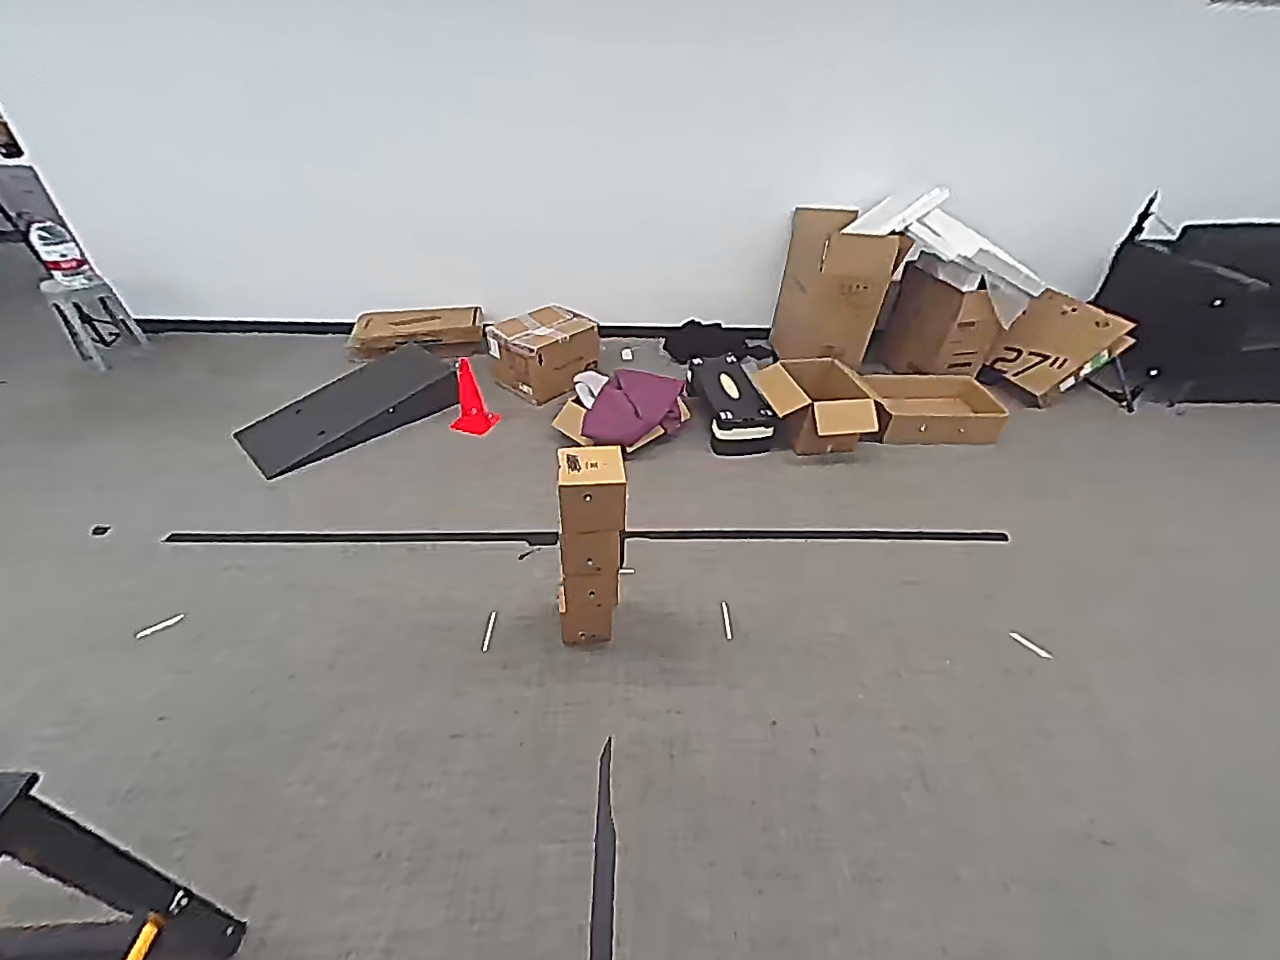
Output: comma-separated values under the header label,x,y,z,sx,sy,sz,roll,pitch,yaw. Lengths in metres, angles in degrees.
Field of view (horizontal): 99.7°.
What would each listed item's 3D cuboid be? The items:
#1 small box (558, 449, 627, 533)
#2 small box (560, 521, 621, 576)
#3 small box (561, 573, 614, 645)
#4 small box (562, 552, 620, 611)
label,x,y,z,sx,sy,sz,roll,pitch,yaw
small box,-0.130,0.032,1.490,0.179,0.176,0.168,-3,38,-6
small box,-0.142,0.162,1.591,0.168,0.176,0.179,-2,39,-3
small box,-0.174,0.422,1.792,0.168,0.176,0.179,-4,40,-6
small box,-0.153,0.294,1.690,0.168,0.176,0.179,-5,39,-7
